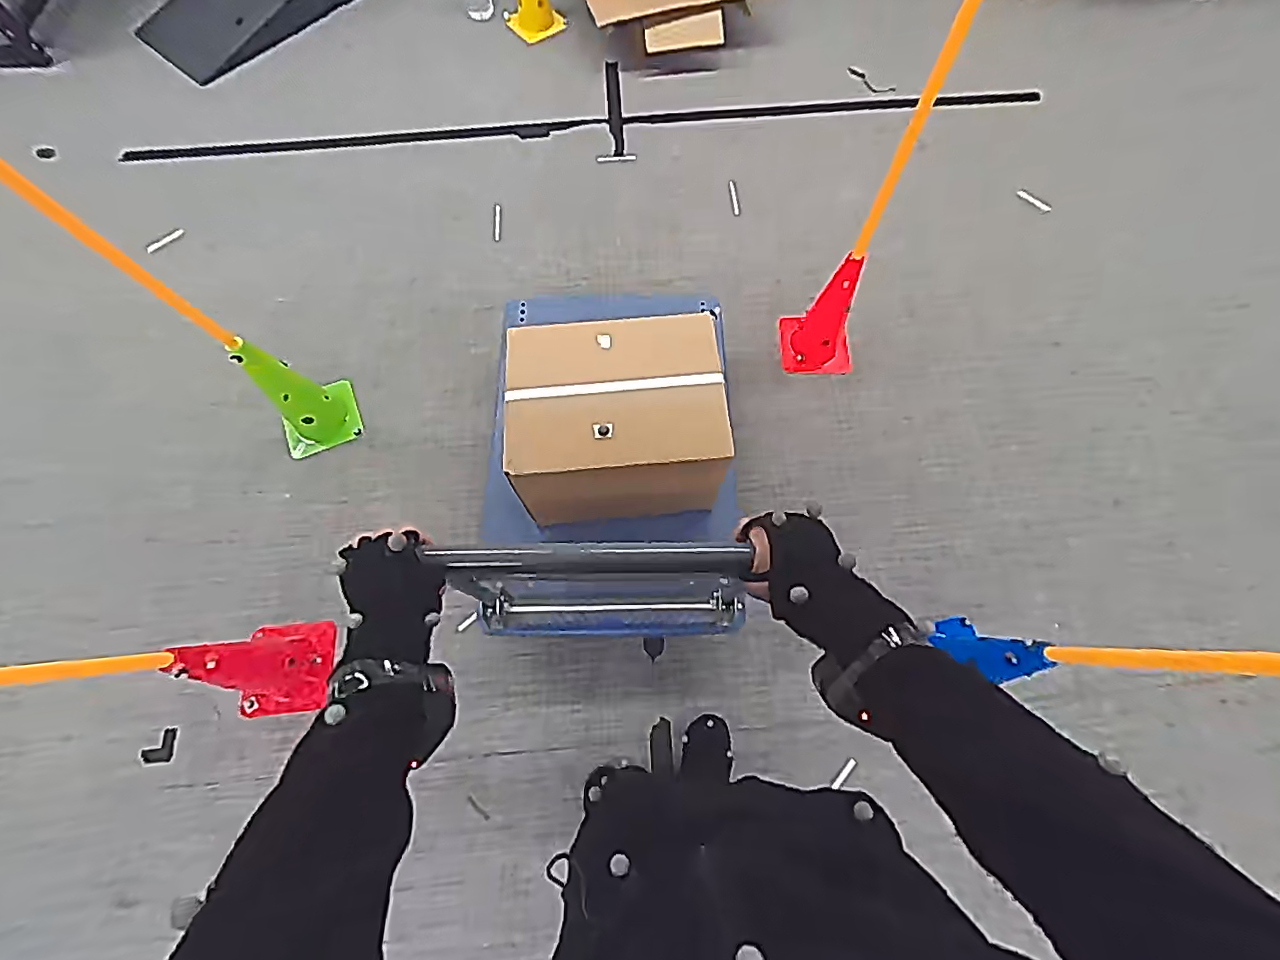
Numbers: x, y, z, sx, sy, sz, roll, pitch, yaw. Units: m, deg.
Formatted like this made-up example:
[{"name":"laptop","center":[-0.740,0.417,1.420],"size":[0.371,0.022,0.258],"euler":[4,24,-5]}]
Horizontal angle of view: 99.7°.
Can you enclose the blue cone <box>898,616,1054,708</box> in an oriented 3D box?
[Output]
[{"name":"blue cone","center":[0.725,0.367,1.129],"size":[0.193,0.380,0.192],"euler":[-8,67,-3]}]

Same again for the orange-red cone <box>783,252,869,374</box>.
[{"name":"orange-red cone","center":[0.527,-0.464,1.446],"size":[0.199,0.360,0.198],"euler":[2,69,0]}]
